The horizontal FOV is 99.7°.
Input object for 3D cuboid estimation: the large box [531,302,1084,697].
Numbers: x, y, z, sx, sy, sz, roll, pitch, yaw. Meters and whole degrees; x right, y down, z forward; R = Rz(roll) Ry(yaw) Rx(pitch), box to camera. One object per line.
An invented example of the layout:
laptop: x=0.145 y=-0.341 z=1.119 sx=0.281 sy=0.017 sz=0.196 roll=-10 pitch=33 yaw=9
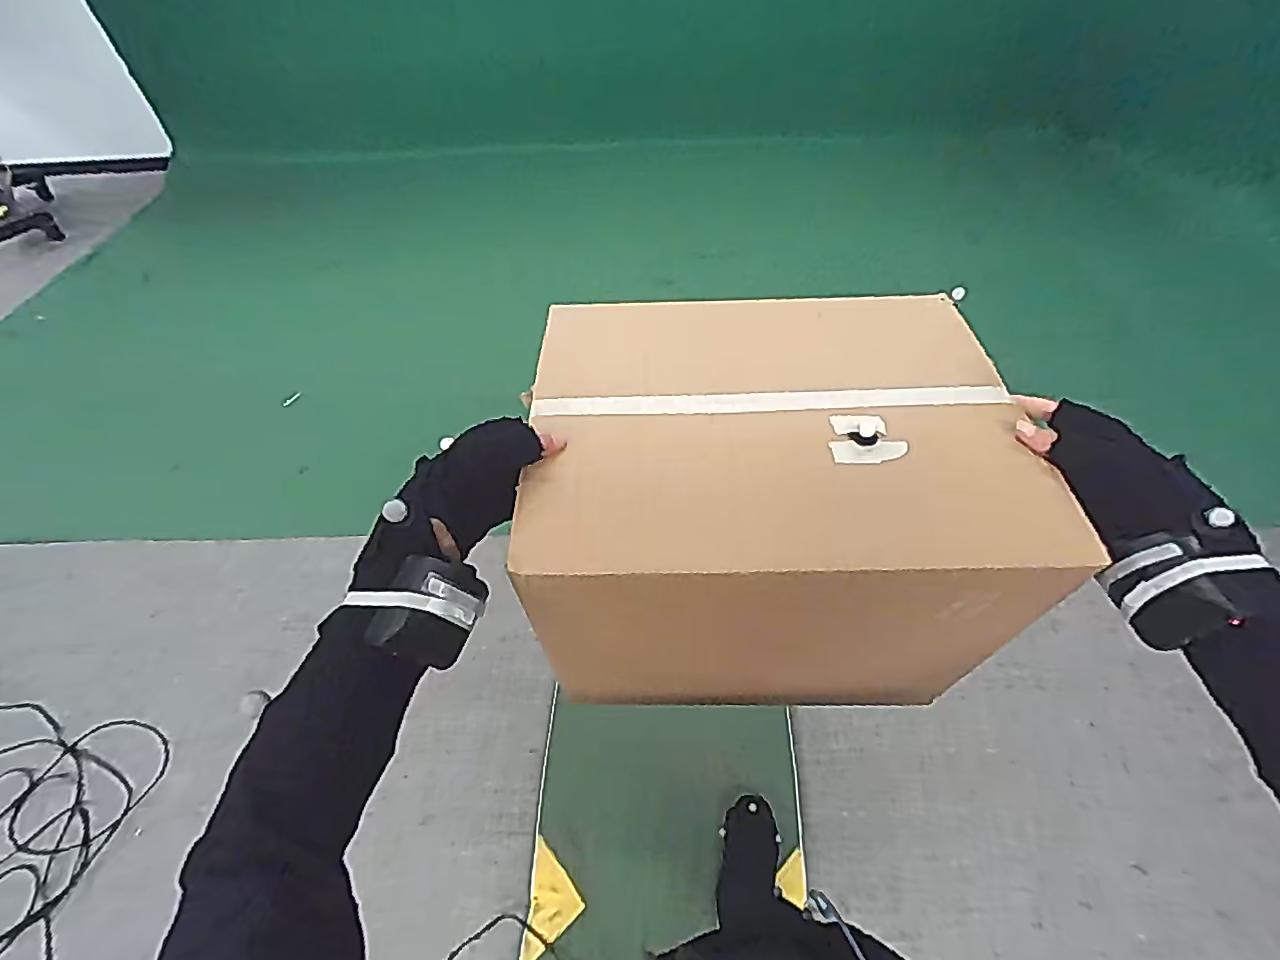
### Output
large box: x=0.117 y=0.030 z=0.590 sx=0.408 sy=0.320 sz=0.320 roll=-1 pitch=52 yaw=0
